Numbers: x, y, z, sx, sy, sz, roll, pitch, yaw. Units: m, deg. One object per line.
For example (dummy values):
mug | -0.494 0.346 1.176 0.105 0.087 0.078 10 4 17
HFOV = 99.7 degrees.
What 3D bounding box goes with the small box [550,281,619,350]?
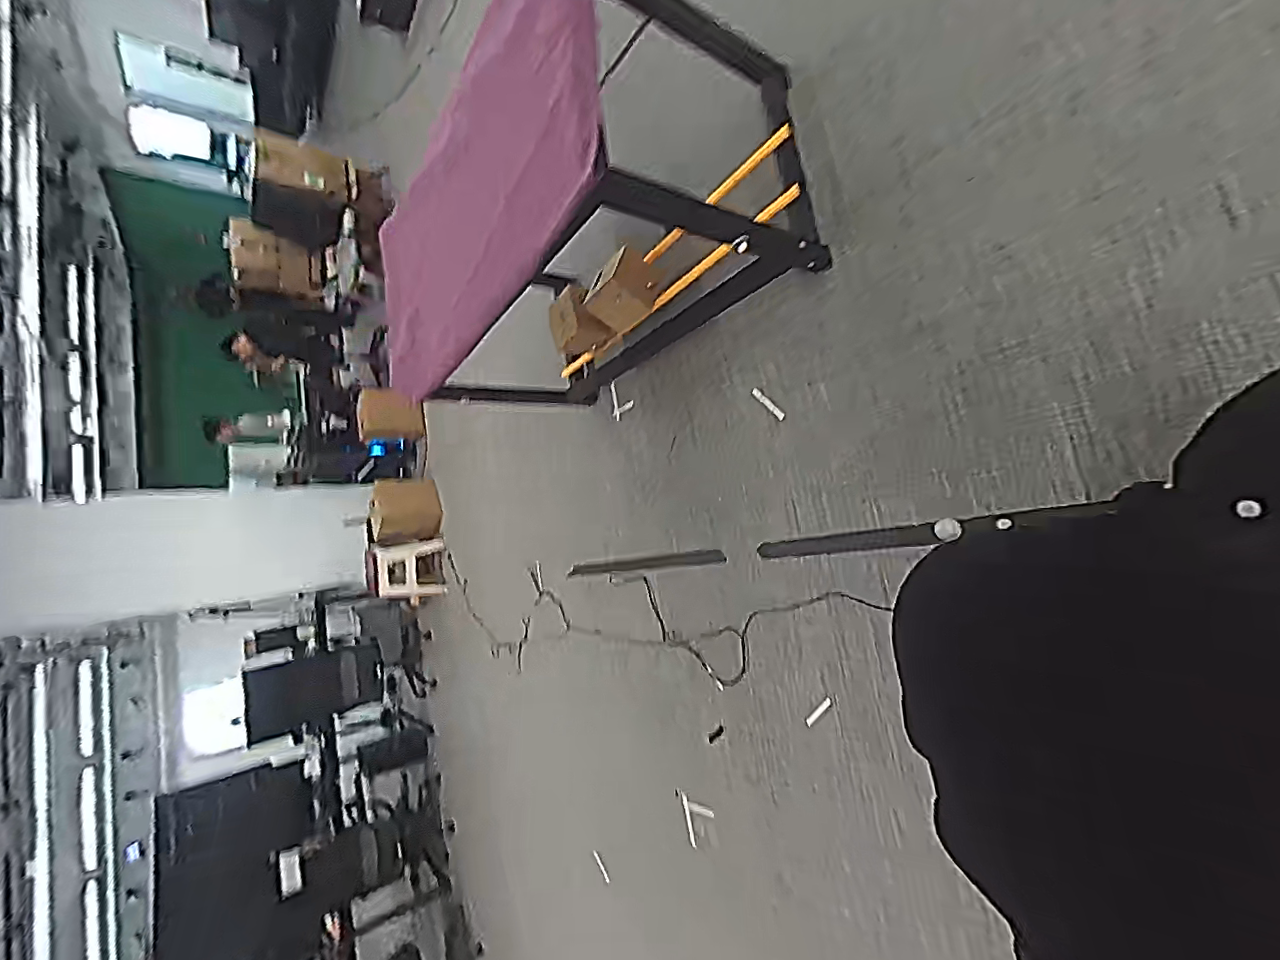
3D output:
small box | -0.197 -0.577 1.926 0.168 0.176 0.179 -24 76 52
